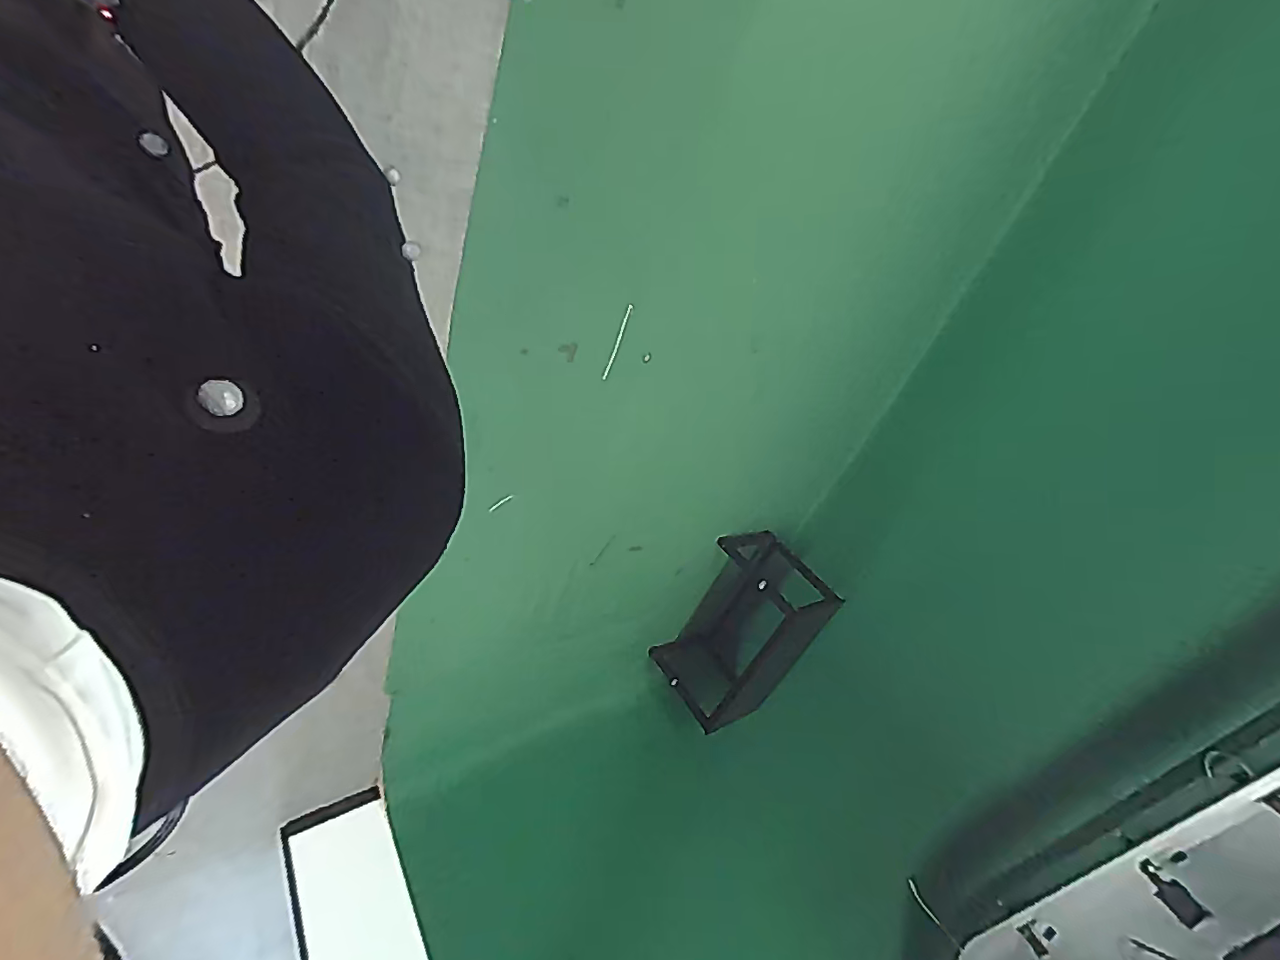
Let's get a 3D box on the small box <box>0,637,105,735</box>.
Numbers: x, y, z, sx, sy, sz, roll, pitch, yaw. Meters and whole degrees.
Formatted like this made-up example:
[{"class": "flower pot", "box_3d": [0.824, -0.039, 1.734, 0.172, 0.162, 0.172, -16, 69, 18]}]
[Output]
[{"class": "small box", "box_3d": [-1.662, 0.579, 1.538, 0.179, 0.176, 0.168, -9, 132, -38]}]
